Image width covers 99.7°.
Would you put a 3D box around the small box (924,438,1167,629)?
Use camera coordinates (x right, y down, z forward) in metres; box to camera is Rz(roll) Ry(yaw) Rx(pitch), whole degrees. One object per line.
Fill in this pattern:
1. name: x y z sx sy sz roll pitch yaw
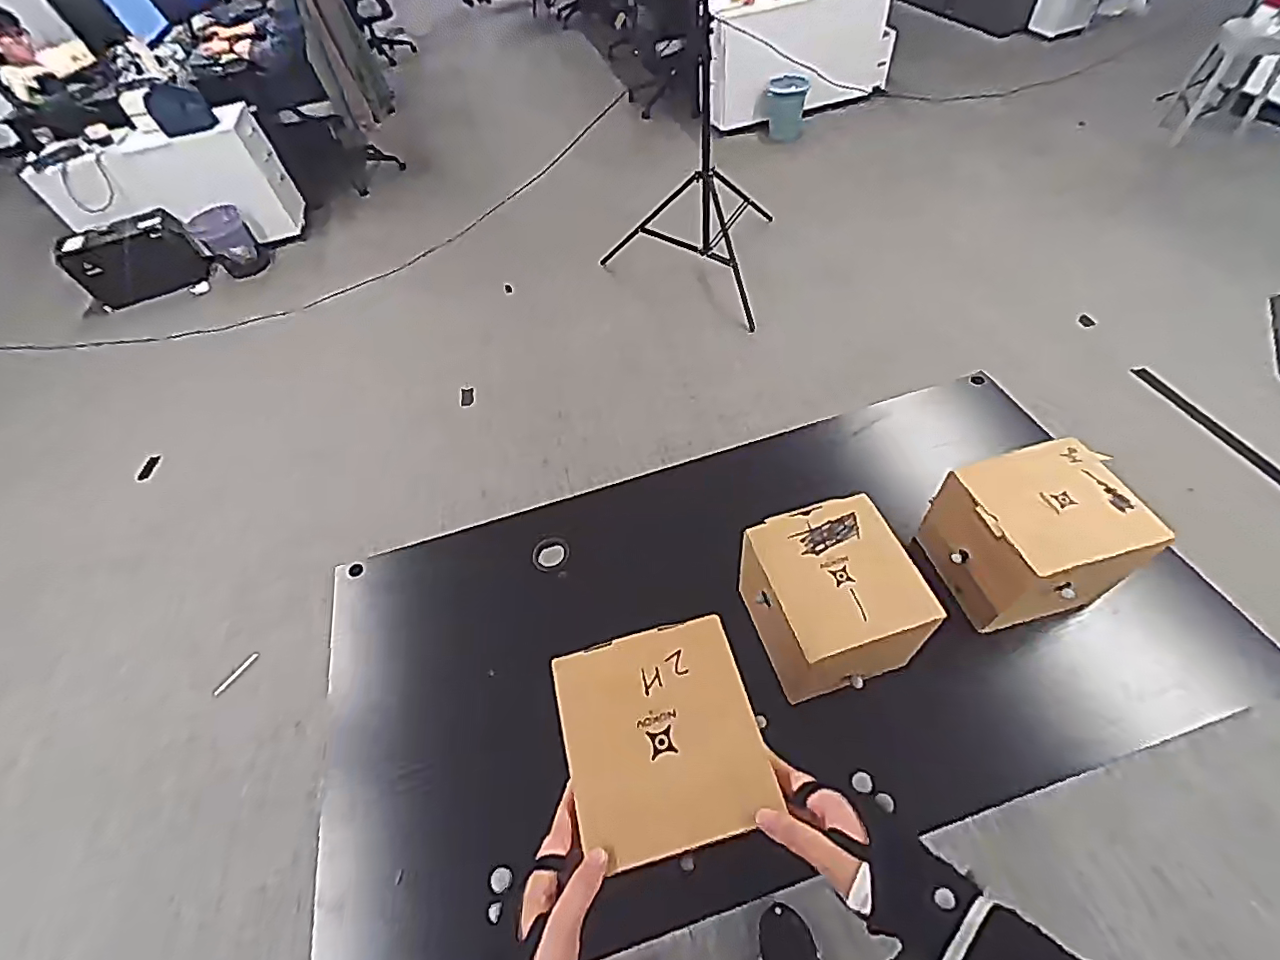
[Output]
1. small box: 0.506 0.076 0.717 0.179 0.176 0.168 -16 52 -2

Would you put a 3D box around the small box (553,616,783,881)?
1. small box: 0.023 0.261 0.531 0.168 0.176 0.179 -14 56 -5

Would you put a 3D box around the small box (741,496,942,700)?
1. small box: 0.237 0.154 0.695 0.168 0.176 0.179 -17 53 -5
